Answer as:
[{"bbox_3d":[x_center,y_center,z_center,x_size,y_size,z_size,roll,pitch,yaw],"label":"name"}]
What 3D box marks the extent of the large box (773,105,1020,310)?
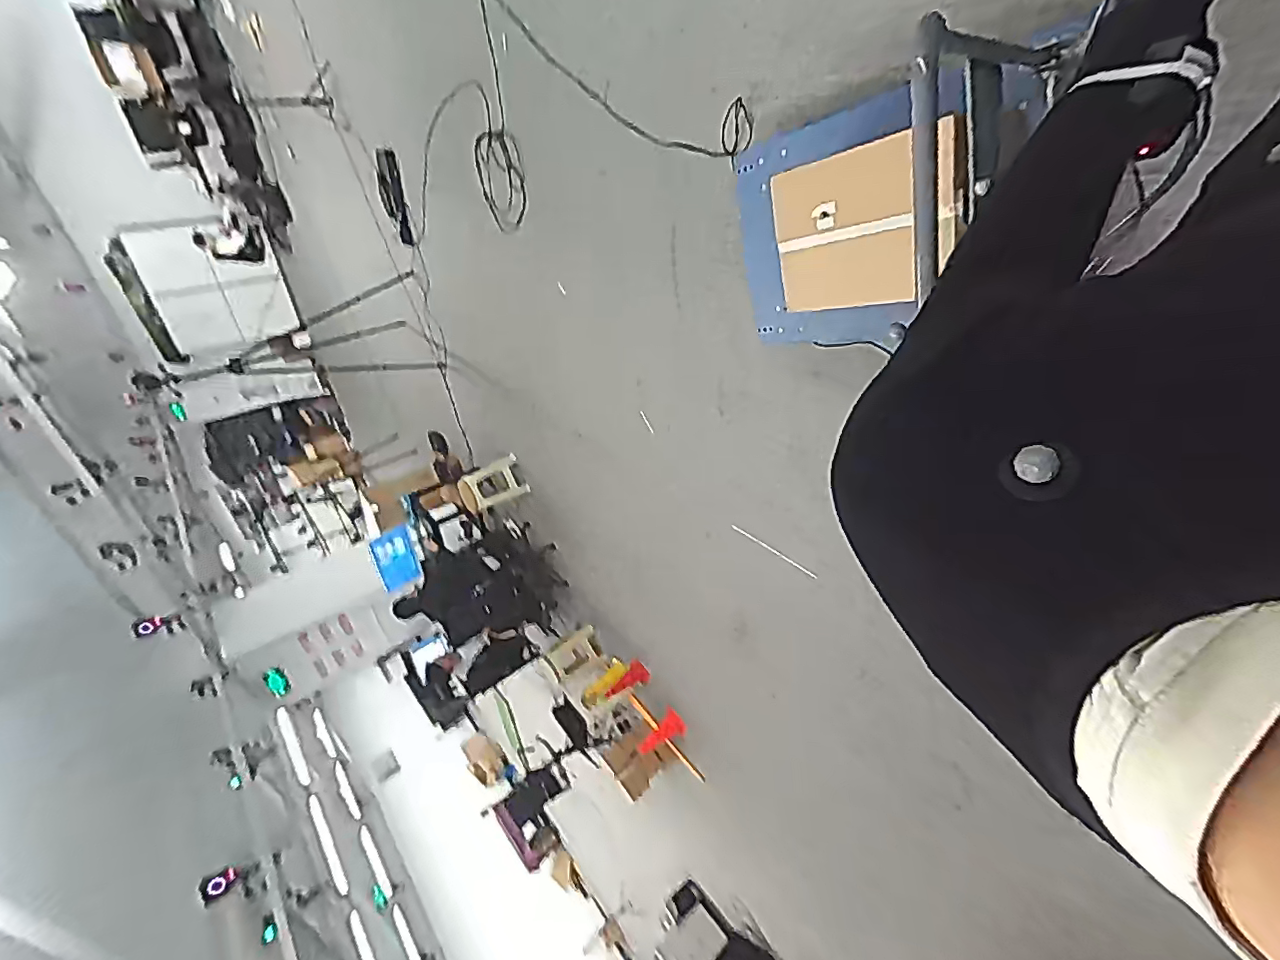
[{"bbox_3d":[0.576,-0.594,1.223,0.408,0.320,0.320,15,125,51],"label":"large box"}]
